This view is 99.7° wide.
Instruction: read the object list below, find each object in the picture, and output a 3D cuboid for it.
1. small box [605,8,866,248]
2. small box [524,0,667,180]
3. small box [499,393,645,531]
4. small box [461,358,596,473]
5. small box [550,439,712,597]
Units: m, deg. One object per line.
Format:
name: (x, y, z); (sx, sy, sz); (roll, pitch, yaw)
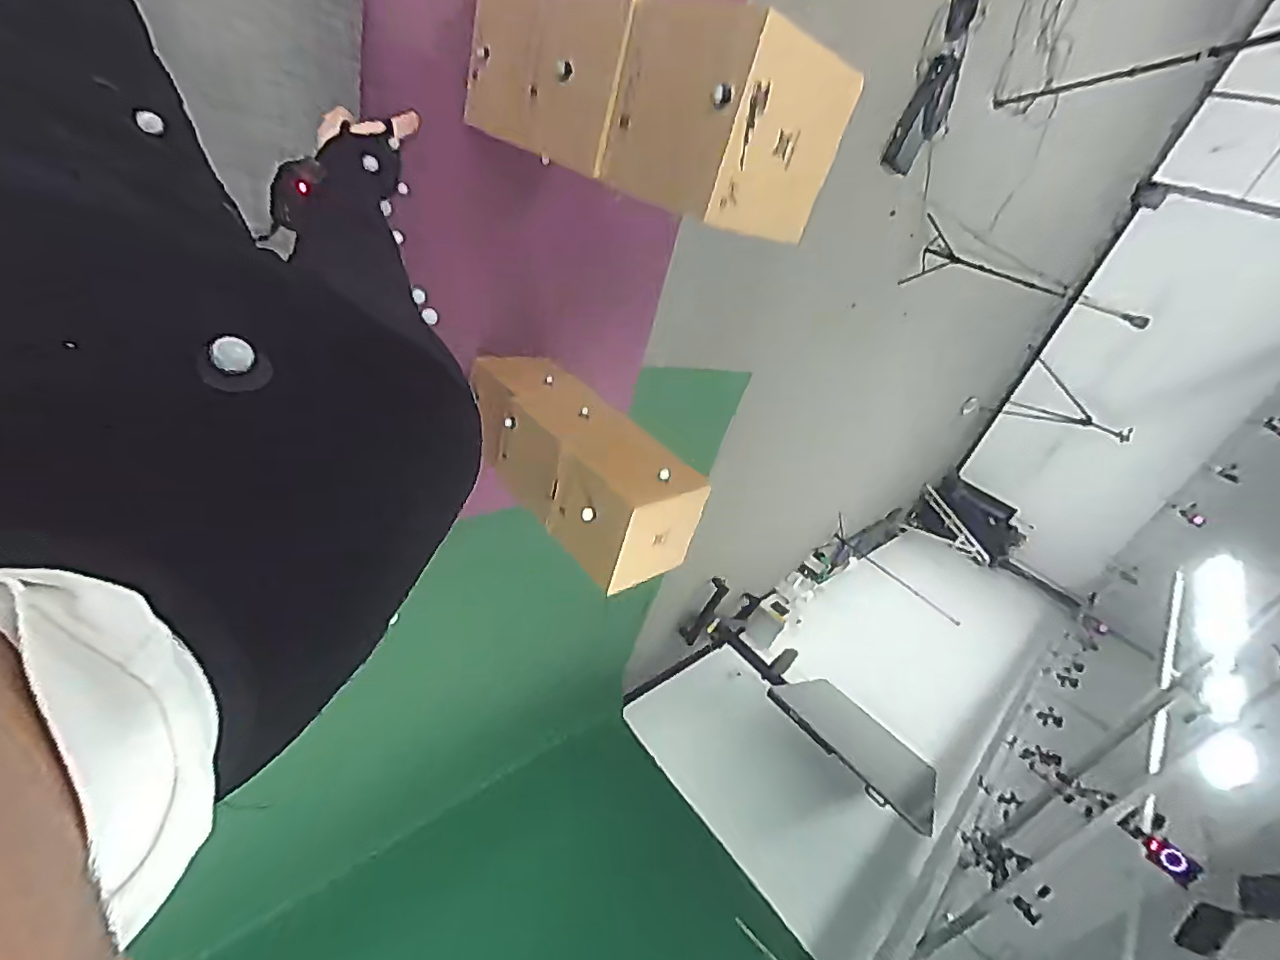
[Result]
small box: (0.094, -0.364, 0.571); (0.179, 0.176, 0.168); (-14, 133, -42)
small box: (-0.017, -0.454, 0.654); (0.179, 0.176, 0.168); (-12, 132, -43)
small box: (-0.126, -0.040, 0.948); (0.179, 0.176, 0.168); (-15, 133, -43)
small box: (-0.220, -0.128, 1.050); (0.179, 0.176, 0.168); (-10, 129, -44)
small box: (-0.021, 0.051, 0.864); (0.179, 0.176, 0.168); (-15, 132, -43)
